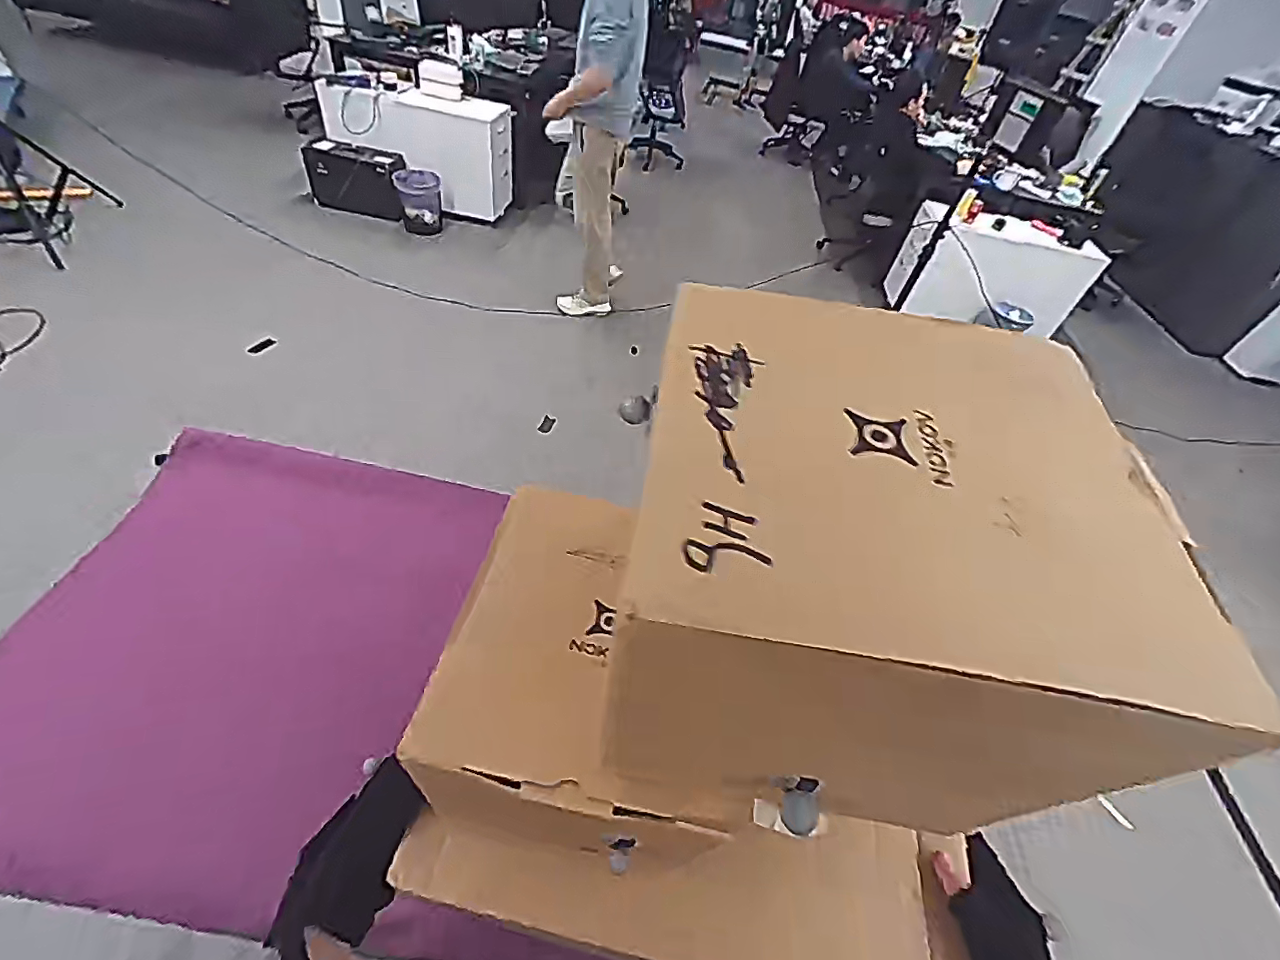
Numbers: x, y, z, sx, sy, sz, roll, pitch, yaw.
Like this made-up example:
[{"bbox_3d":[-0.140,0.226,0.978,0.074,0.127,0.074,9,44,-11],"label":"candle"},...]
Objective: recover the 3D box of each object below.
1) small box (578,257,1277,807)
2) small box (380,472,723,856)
[{"bbox_3d":[0.075,0.031,0.244,0.179,0.176,0.168,10,49,0],"label":"small box"},{"bbox_3d":[-0.039,0.127,0.362,0.168,0.176,0.179,13,48,-1],"label":"small box"}]
